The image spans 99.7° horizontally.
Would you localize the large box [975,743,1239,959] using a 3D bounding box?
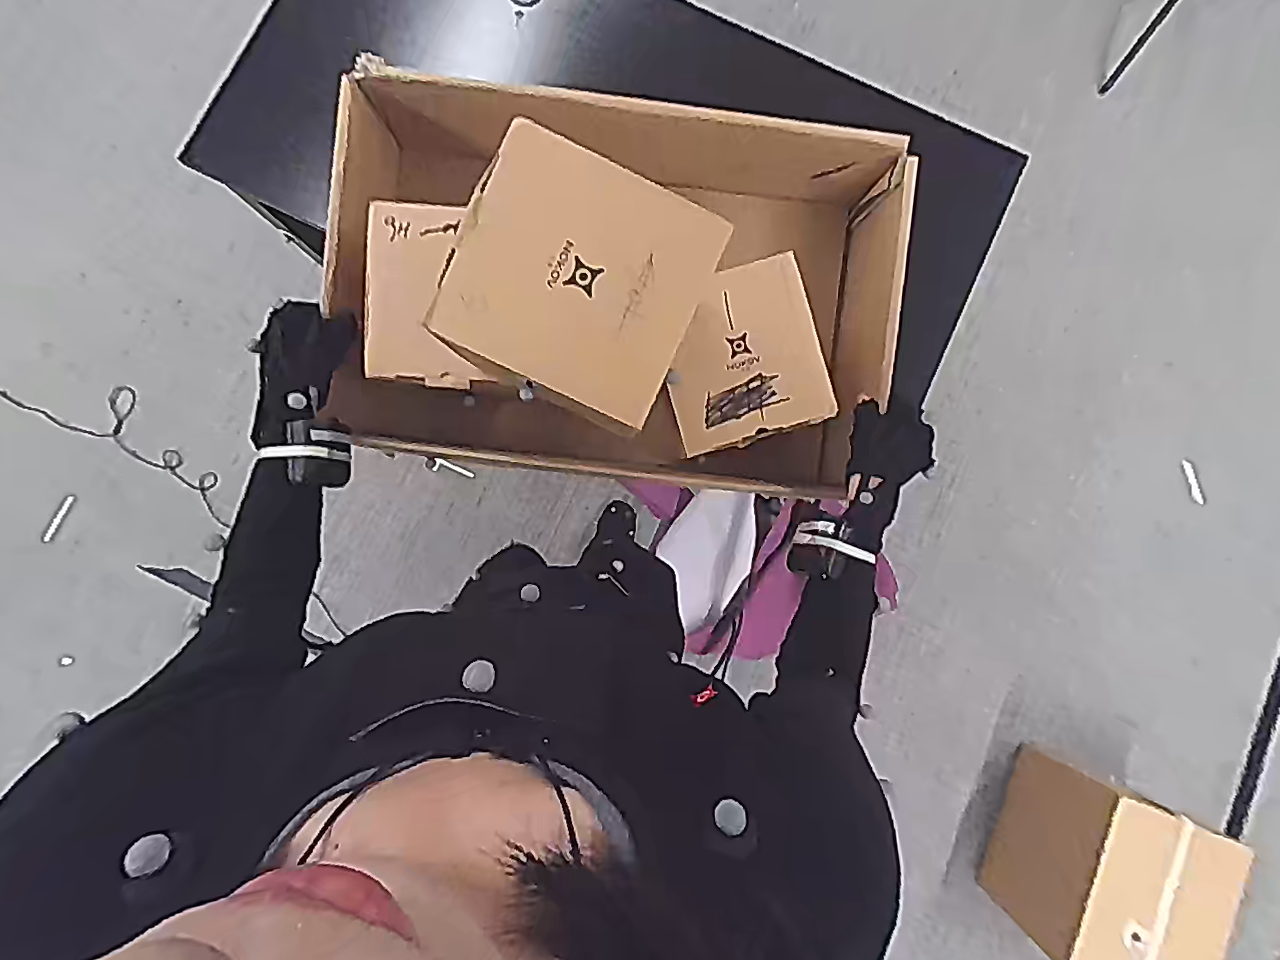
[{"bbox_3d":[1.115,0.945,1.328,0.320,0.320,0.408,22,85,1],"label":"large box"}]
